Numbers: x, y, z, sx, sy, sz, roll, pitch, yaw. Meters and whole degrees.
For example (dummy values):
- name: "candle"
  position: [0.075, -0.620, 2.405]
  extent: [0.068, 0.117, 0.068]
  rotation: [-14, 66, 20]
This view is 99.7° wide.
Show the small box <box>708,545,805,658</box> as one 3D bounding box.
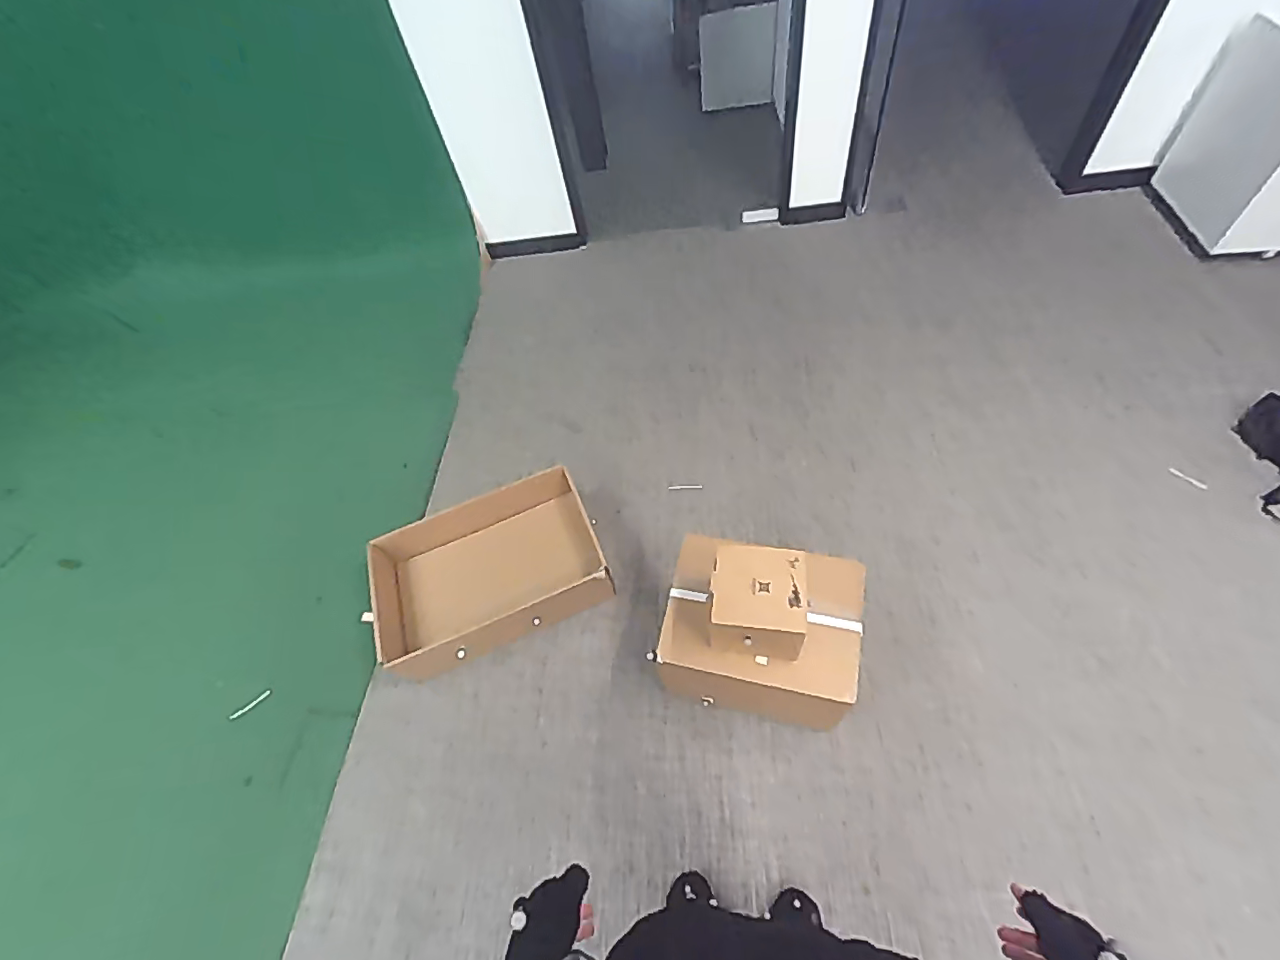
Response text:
- name: "small box"
  position: [0.235, 0.247, 1.085]
  extent: [0.179, 0.176, 0.168]
  rotation: [3, 57, 12]
